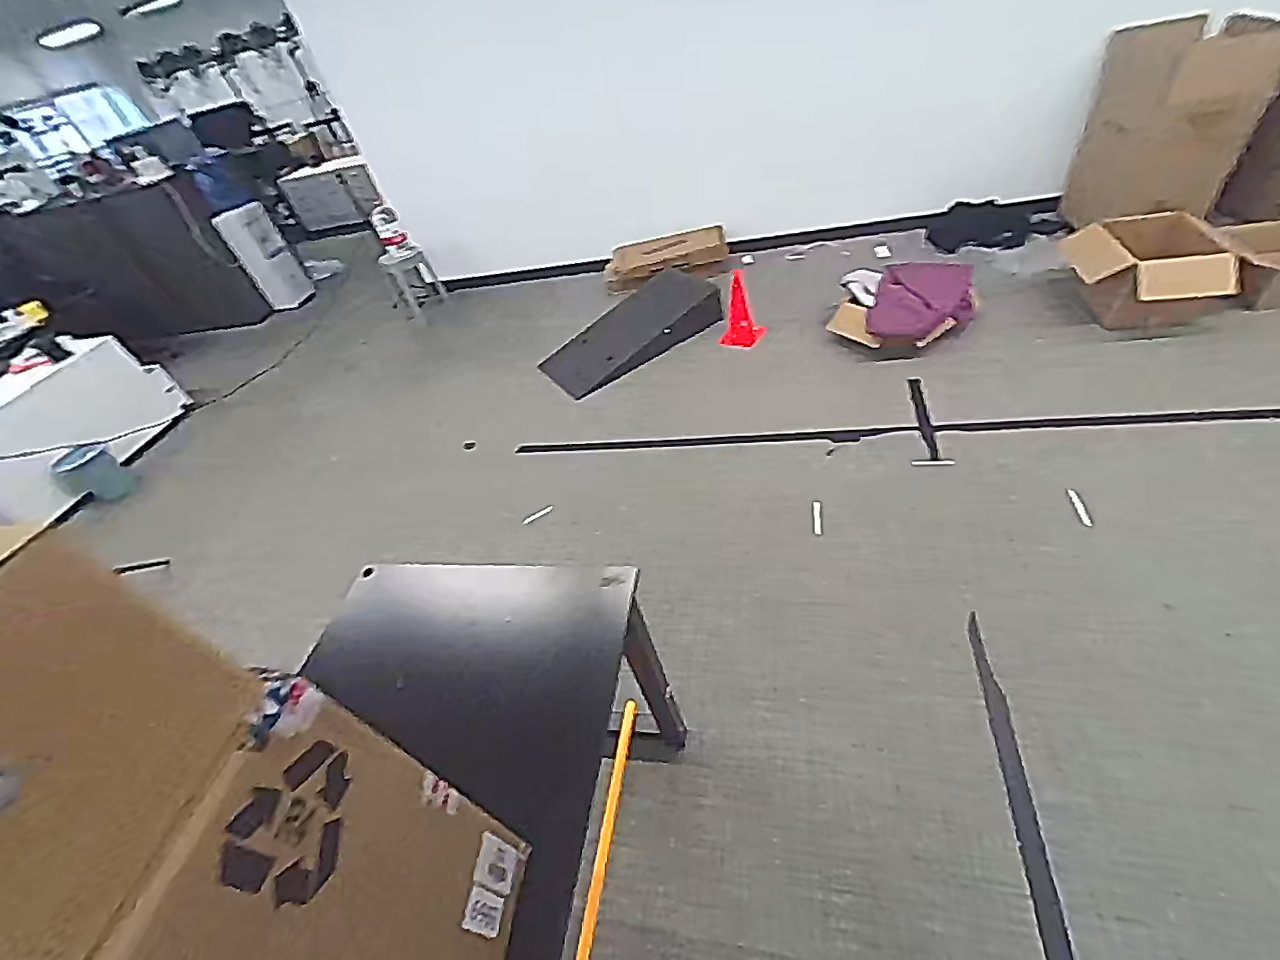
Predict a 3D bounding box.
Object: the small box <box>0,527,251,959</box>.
[{"bbox_3d":[-0.367,0.147,0.288,0.168,0.176,0.179,-3,44,12],"label":"small box"}]
